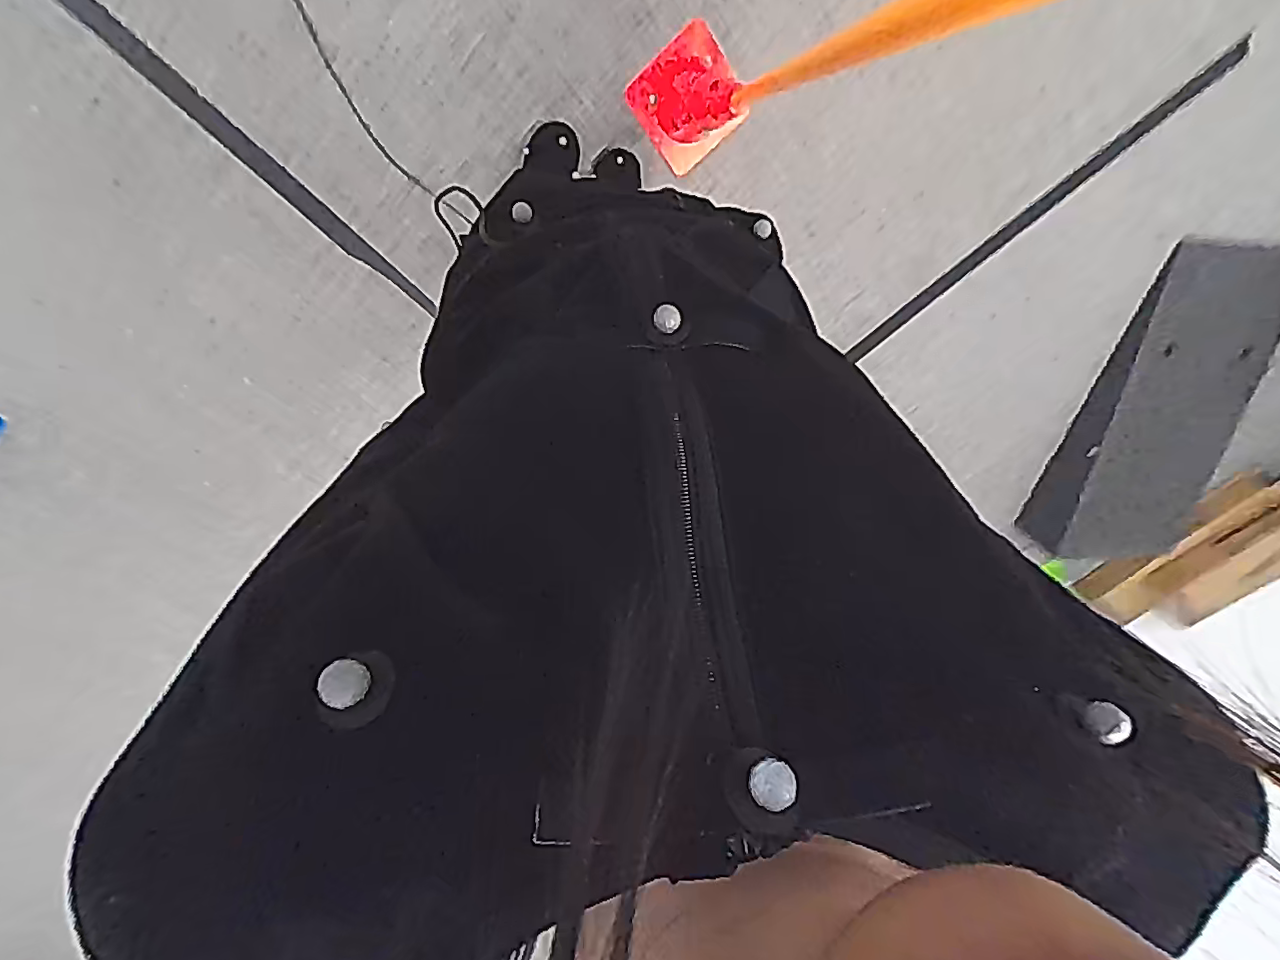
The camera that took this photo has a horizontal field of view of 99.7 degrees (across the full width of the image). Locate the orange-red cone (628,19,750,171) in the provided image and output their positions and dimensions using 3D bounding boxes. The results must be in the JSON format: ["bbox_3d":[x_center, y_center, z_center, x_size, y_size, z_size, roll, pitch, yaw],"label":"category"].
[{"bbox_3d":[0.124,-0.671,0.953,0.198,0.360,0.199,-35,124,15],"label":"orange-red cone"}]
